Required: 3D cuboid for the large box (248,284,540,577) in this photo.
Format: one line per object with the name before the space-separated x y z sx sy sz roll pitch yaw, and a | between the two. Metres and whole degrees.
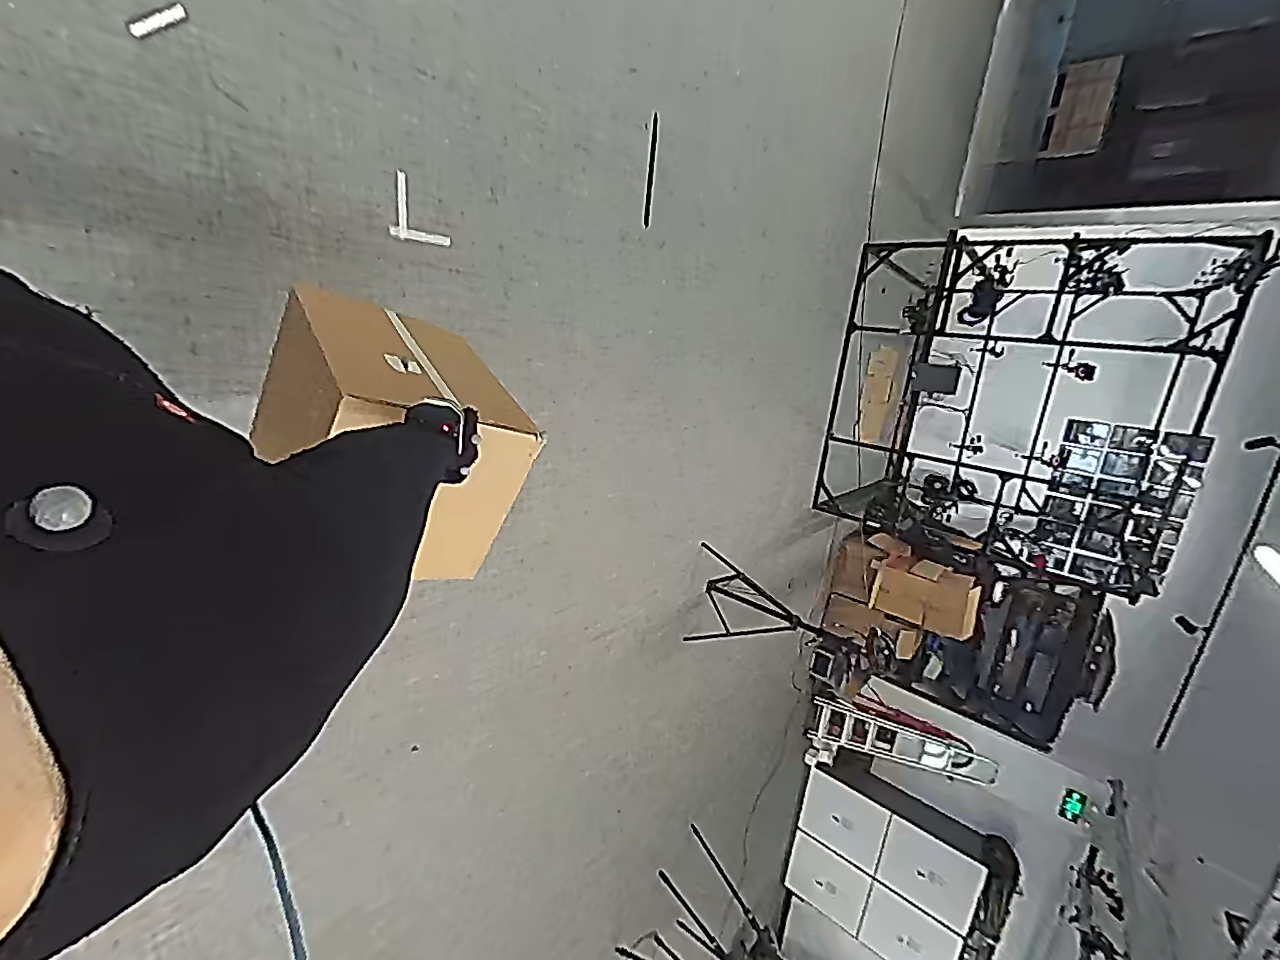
large box | -0.451 -0.079 0.956 0.320 0.408 0.320 9 119 -46
